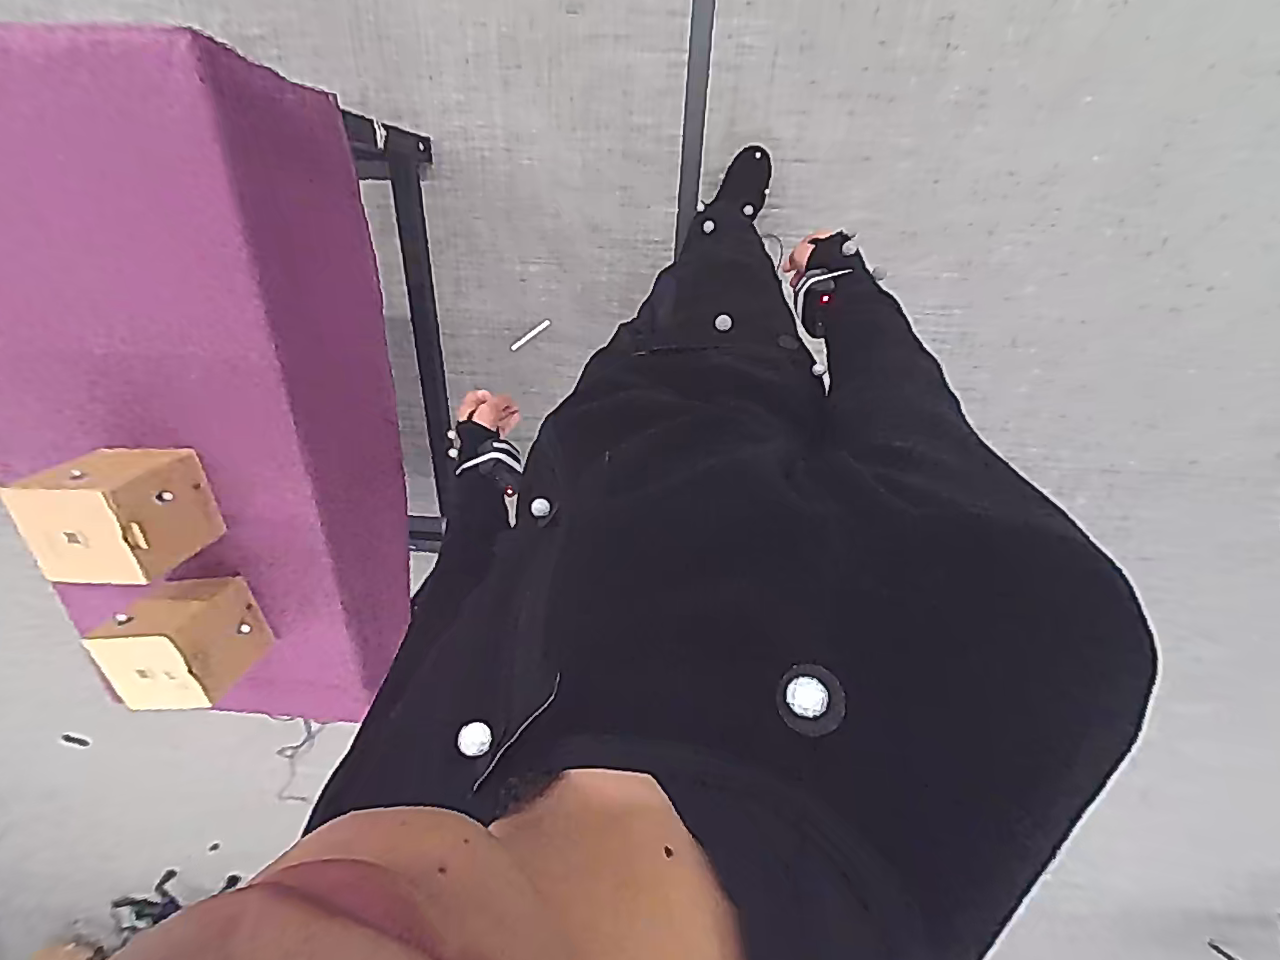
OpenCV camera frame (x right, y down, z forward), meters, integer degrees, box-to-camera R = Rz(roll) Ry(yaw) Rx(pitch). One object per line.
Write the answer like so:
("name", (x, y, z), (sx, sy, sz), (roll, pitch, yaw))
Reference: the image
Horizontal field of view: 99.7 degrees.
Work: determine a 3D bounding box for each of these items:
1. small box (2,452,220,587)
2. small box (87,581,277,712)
("small box", (-0.845, 0.059, 0.893), (0.179, 0.176, 0.168), (1, 115, 5))
("small box", (-0.835, 0.304, 1.006), (0.179, 0.176, 0.168), (-5, 115, 7))
